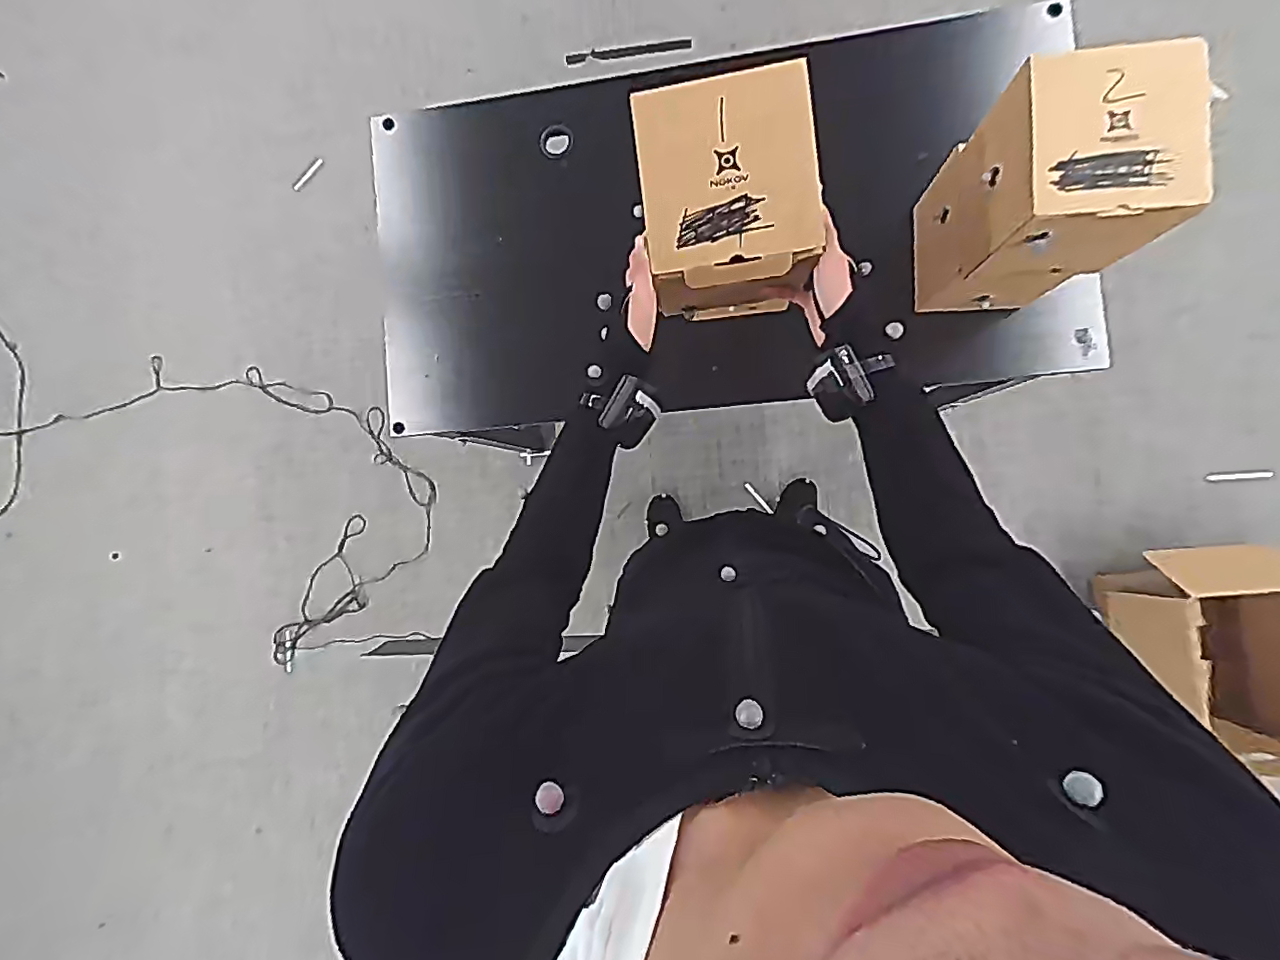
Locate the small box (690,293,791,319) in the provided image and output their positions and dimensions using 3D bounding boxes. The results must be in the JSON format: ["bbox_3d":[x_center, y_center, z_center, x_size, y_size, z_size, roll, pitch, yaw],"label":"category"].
[{"bbox_3d":[0.148,-0.368,0.836,0.168,0.176,0.179,-5,88,7],"label":"small box"}]

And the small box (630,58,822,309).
[{"bbox_3d":[0.089,-0.291,0.578,0.168,0.176,0.179,-6,93,7],"label":"small box"}]

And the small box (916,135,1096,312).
[{"bbox_3d":[0.516,-0.359,0.787,0.168,0.176,0.179,0,89,8],"label":"small box"}]
